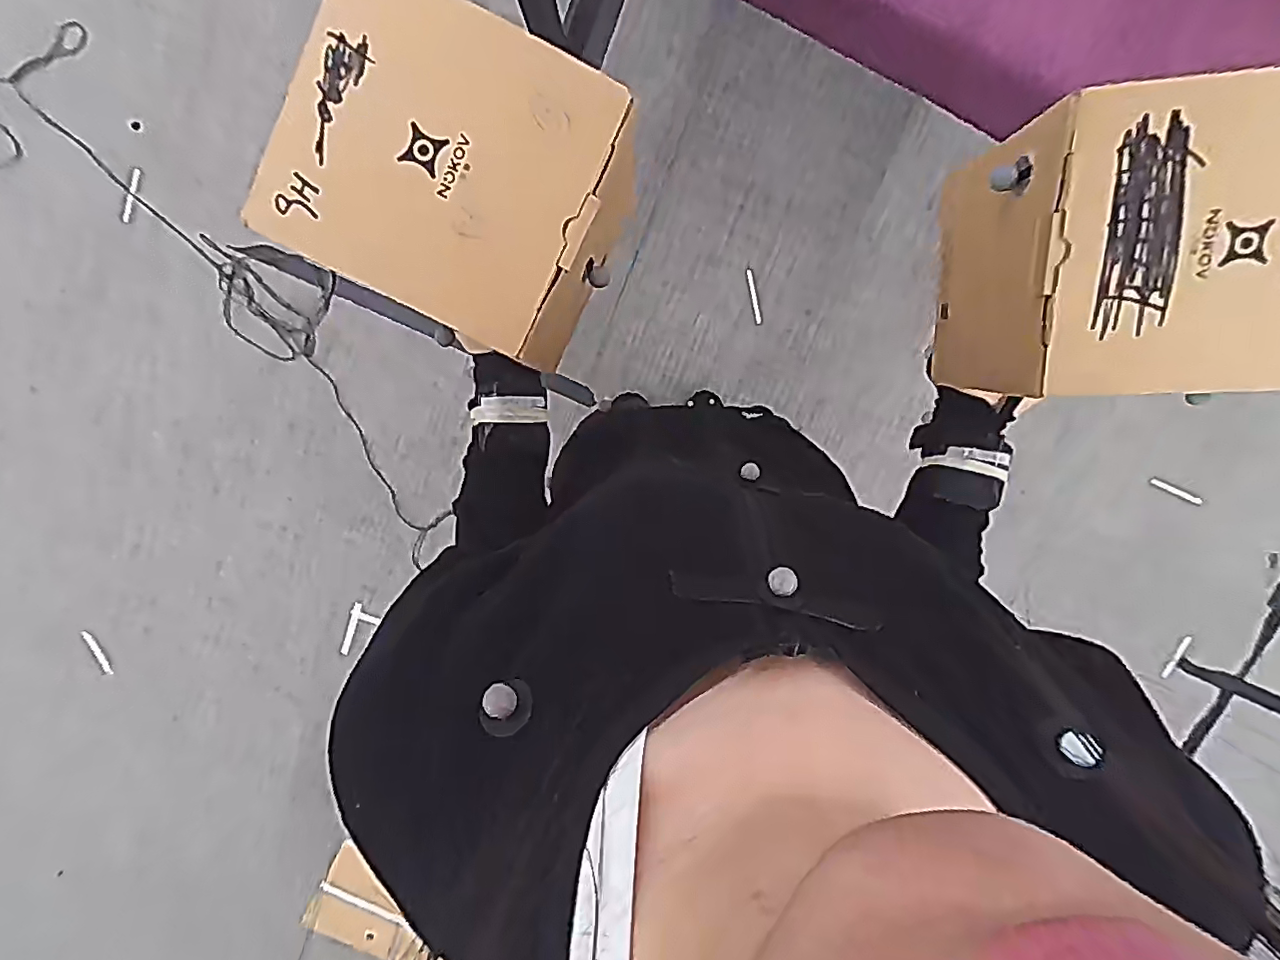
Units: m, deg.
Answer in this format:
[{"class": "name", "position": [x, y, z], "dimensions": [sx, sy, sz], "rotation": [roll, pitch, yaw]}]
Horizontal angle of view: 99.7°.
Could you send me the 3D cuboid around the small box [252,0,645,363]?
[{"class": "small box", "position": [-0.112, -0.193, 0.386], "dimensions": [0.179, 0.176, 0.168], "rotation": [25, 96, -6]}]
